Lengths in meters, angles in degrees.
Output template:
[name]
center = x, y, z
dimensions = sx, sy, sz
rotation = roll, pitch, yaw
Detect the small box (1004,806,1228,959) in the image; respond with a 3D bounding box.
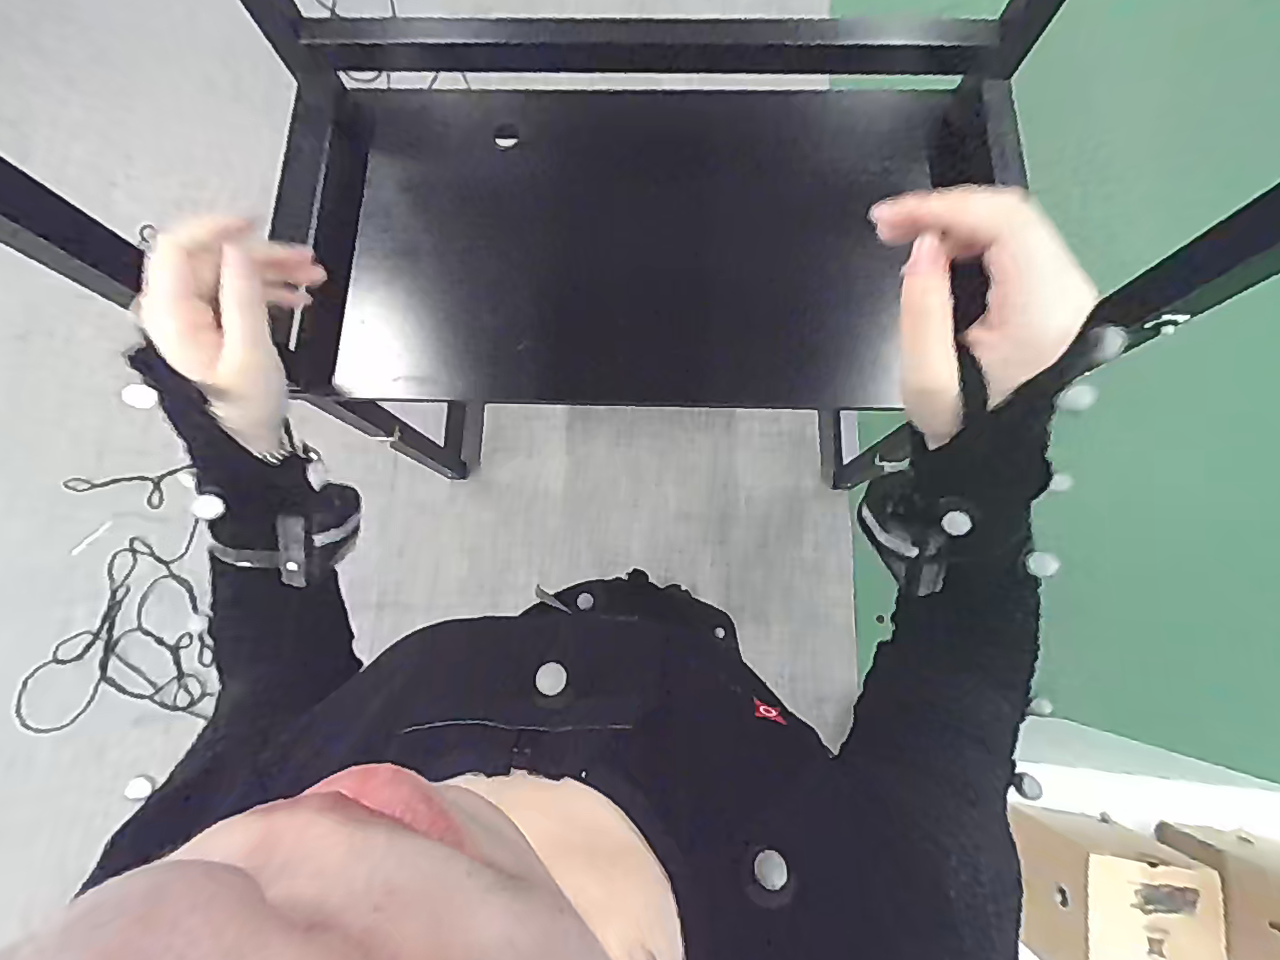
[small box]
center = 0.631, 0.577, 0.737
dimensions = 0.168, 0.176, 0.179
rotation = 9, 80, 2
